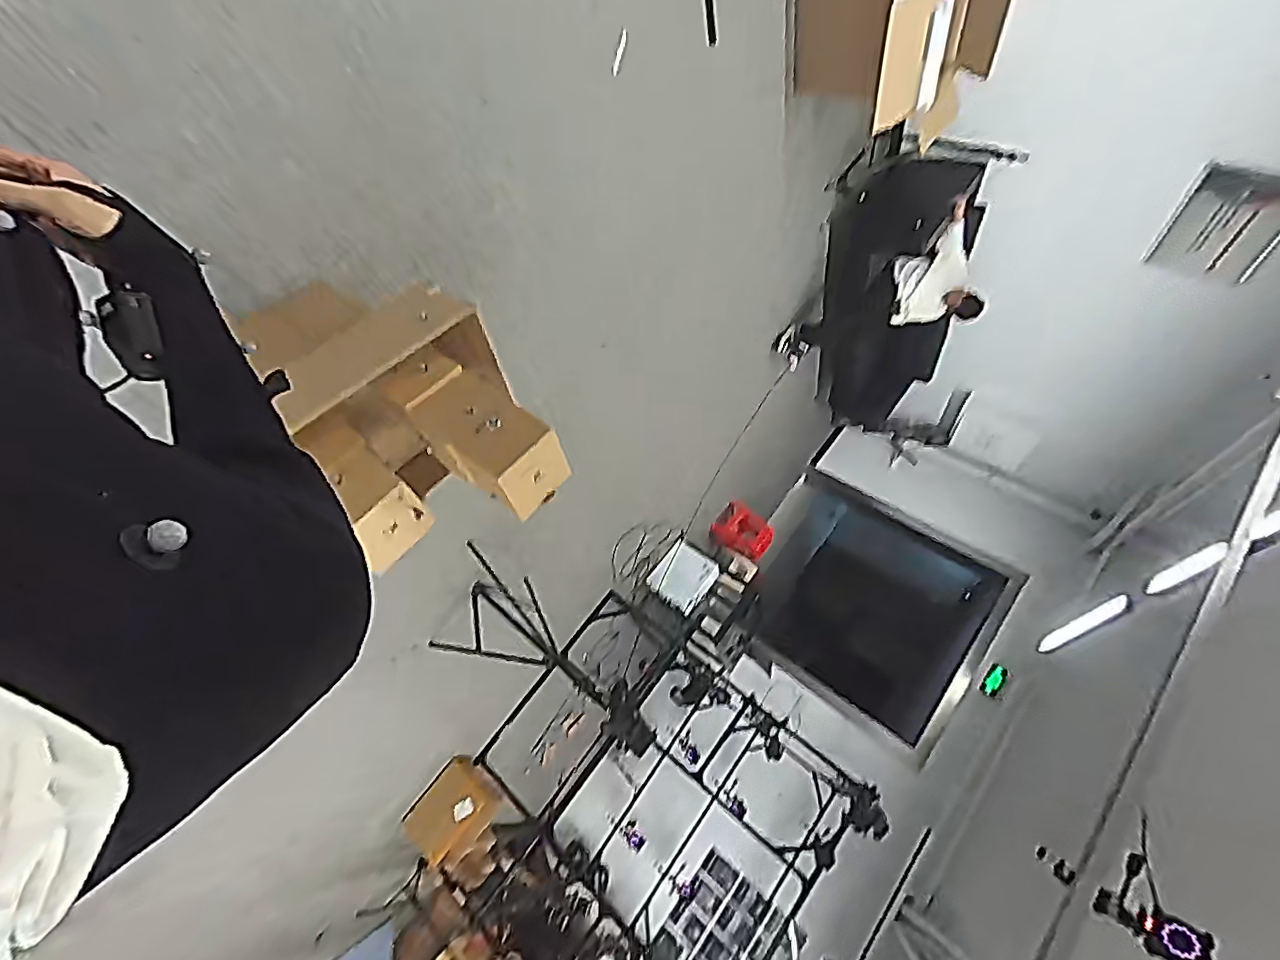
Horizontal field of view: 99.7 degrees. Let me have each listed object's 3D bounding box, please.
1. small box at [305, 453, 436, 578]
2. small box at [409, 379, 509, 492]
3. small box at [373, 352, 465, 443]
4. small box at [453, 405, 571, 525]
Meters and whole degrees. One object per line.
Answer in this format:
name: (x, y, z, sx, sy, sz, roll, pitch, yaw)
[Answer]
small box: (-0.593, 0.076, 1.185, 0.179, 0.176, 0.168, -46, 151, -21)
small box: (-0.411, -0.113, 1.295, 0.179, 0.176, 0.168, -44, 150, -22)
small box: (-0.532, -0.200, 1.365, 0.168, 0.176, 0.179, -45, 151, -21)
small box: (-0.286, -0.037, 1.222, 0.168, 0.176, 0.179, -46, 152, -21)
